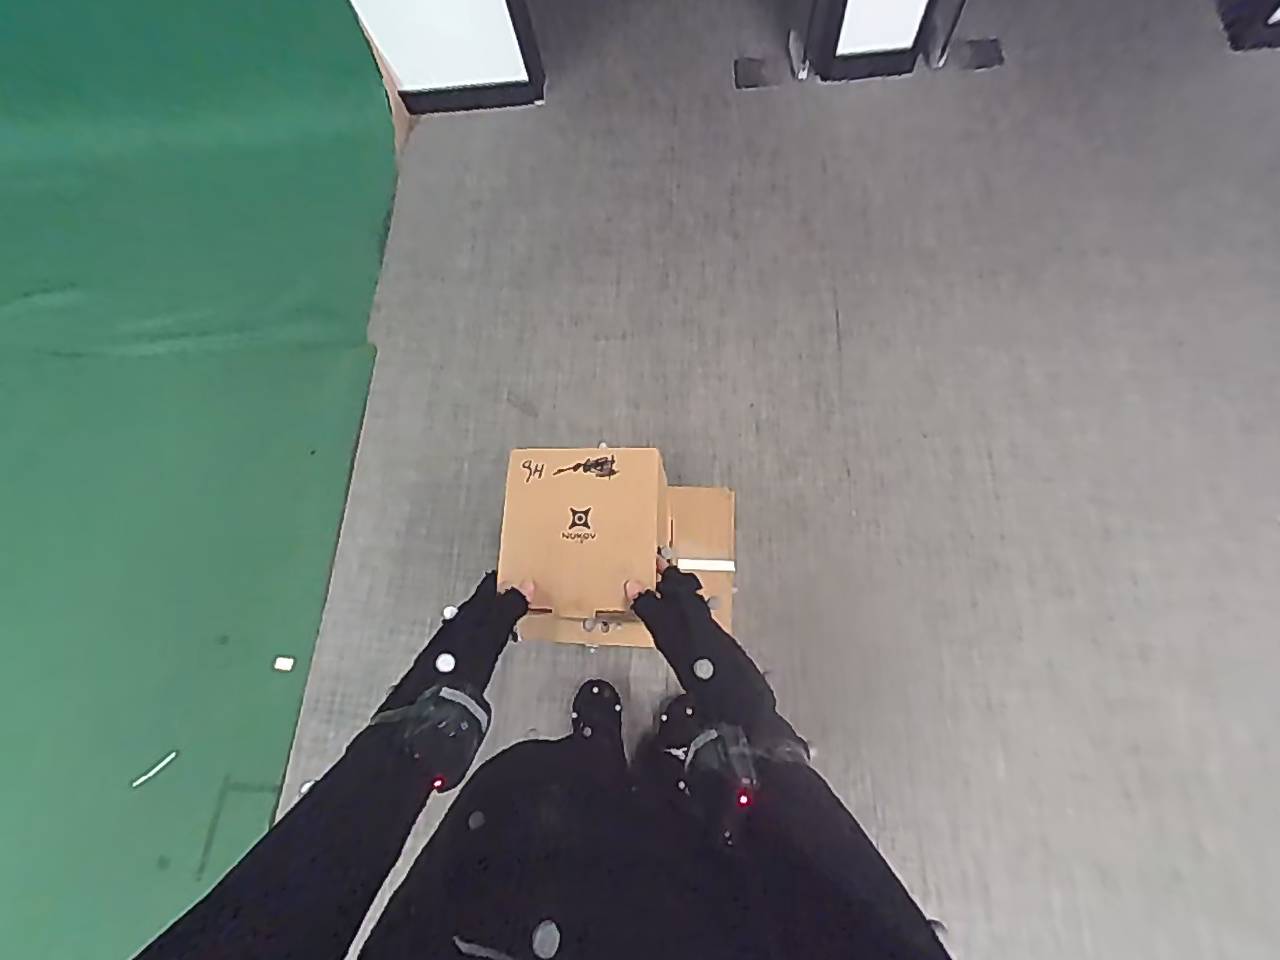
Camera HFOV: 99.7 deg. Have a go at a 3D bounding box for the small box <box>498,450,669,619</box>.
[{"bbox_3d":[-0.054,0.073,0.640,0.168,0.176,0.179,-2,75,7],"label":"small box"}]

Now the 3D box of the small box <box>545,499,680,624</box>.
[{"bbox_3d":[-0.032,0.124,0.793,0.179,0.176,0.168,-1,74,8],"label":"small box"}]
